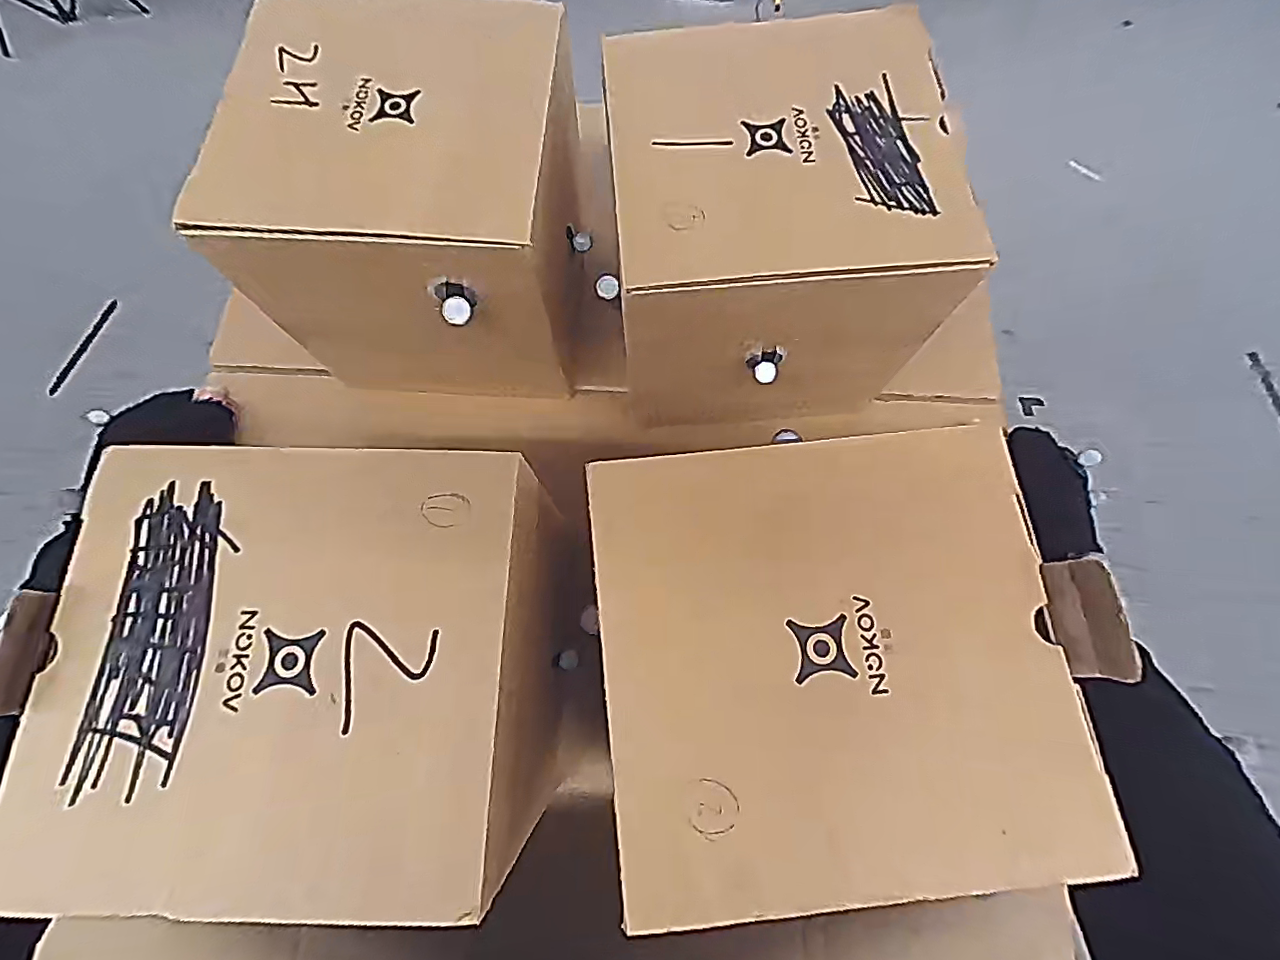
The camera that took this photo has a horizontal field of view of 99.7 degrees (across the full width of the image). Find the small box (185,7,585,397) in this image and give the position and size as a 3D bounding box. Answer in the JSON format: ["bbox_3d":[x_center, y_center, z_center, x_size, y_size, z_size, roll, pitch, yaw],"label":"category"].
[{"bbox_3d":[-0.136,-0.168,0.369,0.179,0.176,0.168,4,72,2],"label":"small box"}]
